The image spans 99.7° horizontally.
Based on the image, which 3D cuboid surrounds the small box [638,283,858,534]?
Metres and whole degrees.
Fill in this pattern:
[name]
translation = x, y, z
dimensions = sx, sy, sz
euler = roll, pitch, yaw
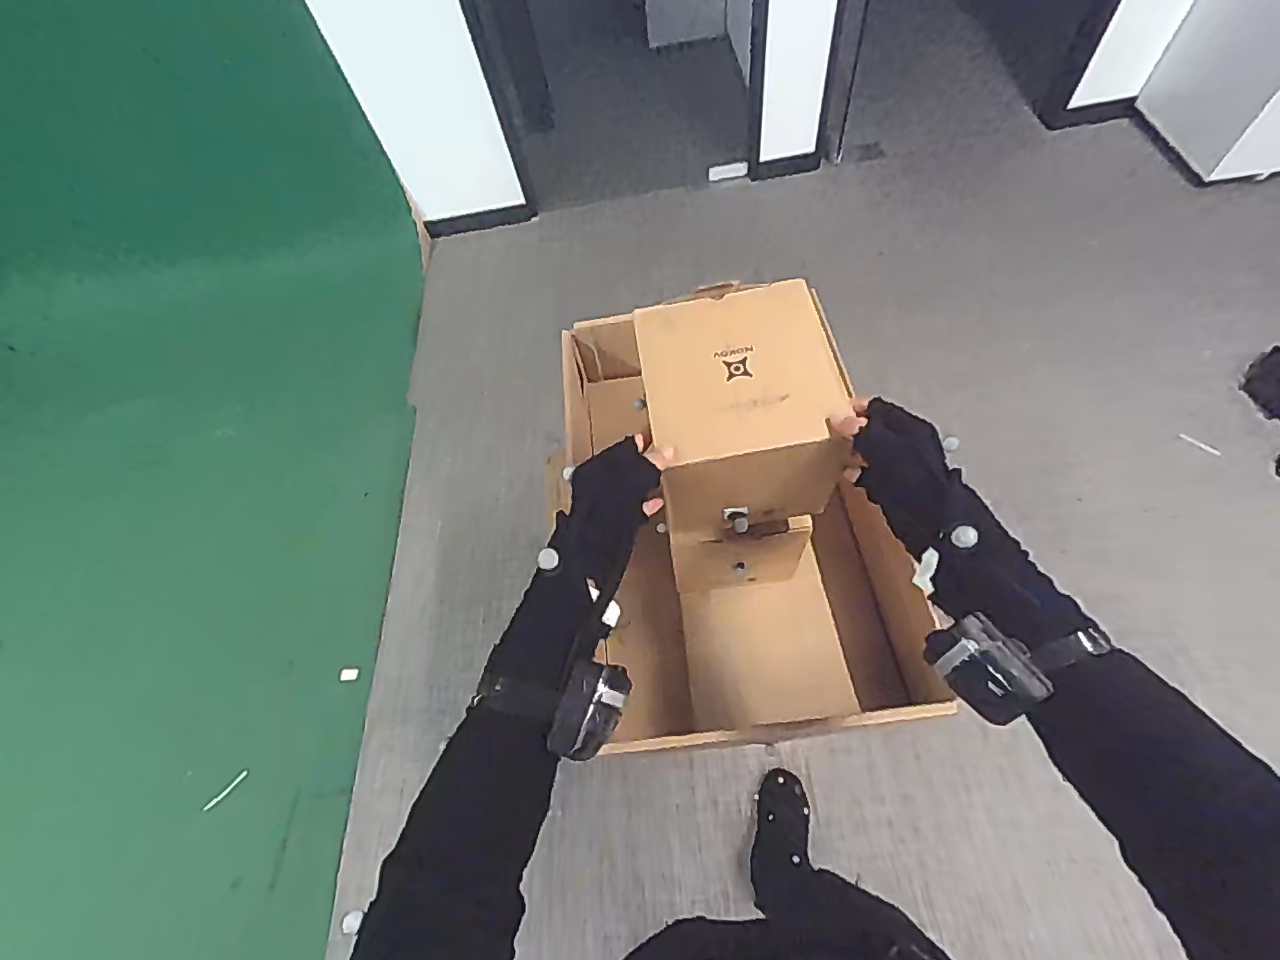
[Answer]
[small box]
translation = 0.095, -0.064, 0.548
dimensions = 0.168, 0.176, 0.179
euler = -10, 64, 3
